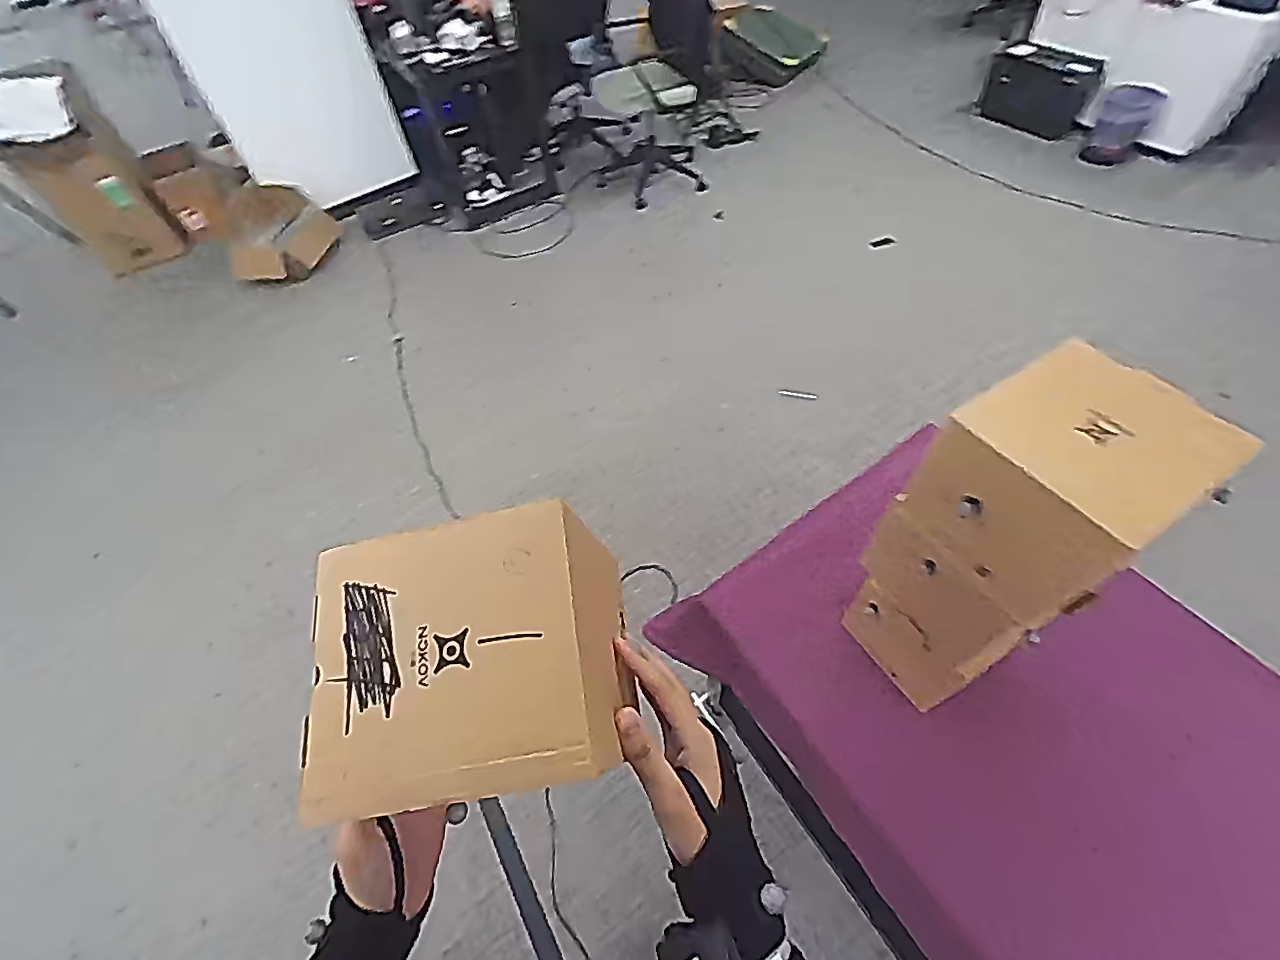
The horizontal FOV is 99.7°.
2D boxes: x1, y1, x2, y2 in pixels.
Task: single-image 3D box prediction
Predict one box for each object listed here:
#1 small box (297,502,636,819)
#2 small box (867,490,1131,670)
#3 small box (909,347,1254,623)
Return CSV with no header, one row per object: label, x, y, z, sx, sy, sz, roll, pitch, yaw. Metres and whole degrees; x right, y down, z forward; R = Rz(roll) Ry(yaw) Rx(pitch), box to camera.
small box,-0.112,0.136,0.407,0.179,0.176,0.168,-13,66,5
small box,0.411,0.101,0.660,0.168,0.176,0.179,-23,56,-11
small box,0.395,0.009,0.527,0.179,0.176,0.168,-28,57,-15
